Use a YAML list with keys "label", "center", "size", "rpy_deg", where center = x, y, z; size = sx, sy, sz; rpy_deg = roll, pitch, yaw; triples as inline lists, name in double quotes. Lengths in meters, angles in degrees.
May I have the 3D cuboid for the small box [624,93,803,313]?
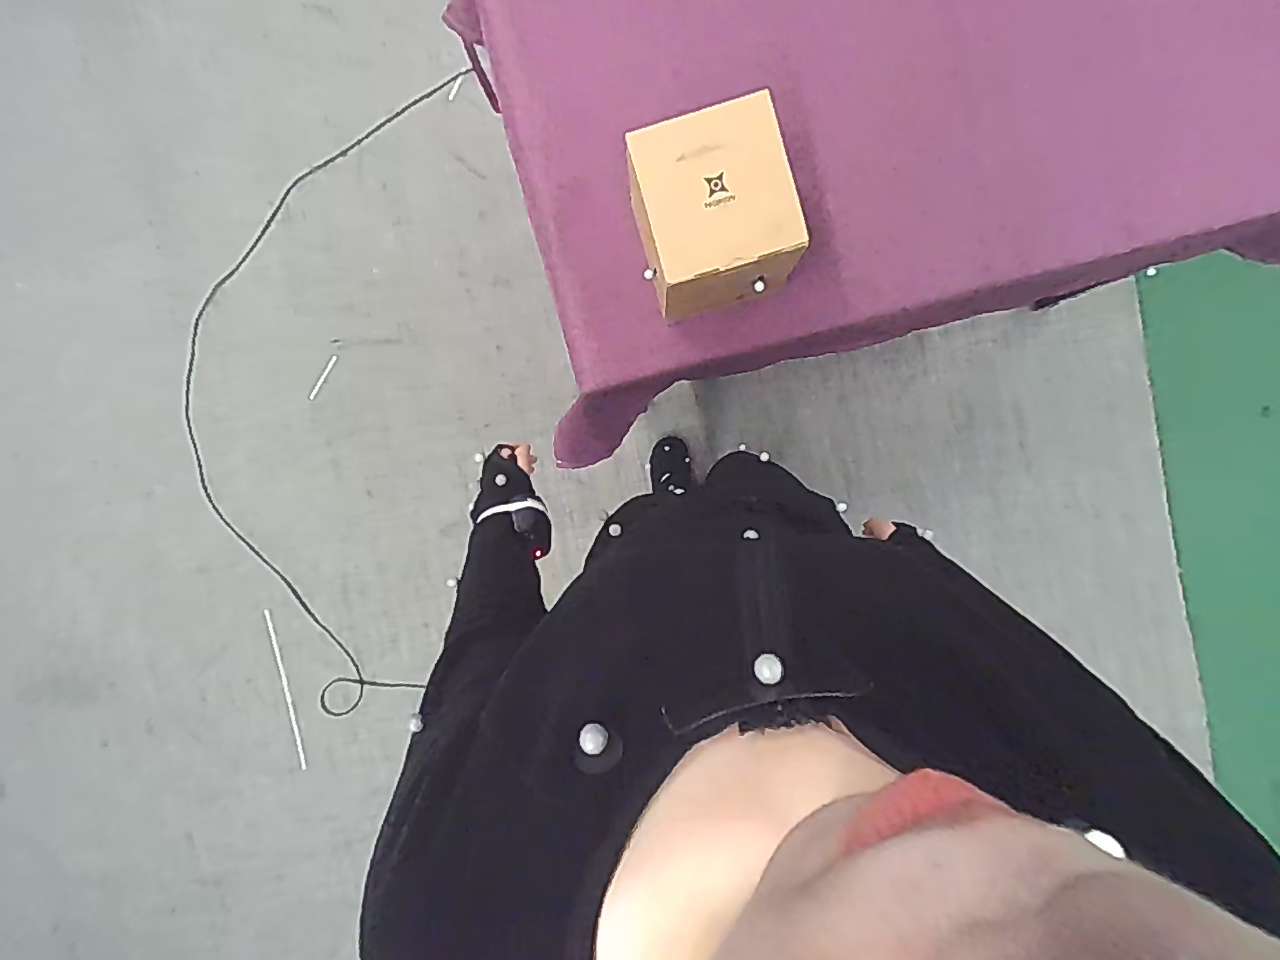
- label: "small box"
  center: [0.085, -0.324, 0.676]
  size: [0.168, 0.176, 0.179]
  rpy_deg: [-16, 91, 2]
